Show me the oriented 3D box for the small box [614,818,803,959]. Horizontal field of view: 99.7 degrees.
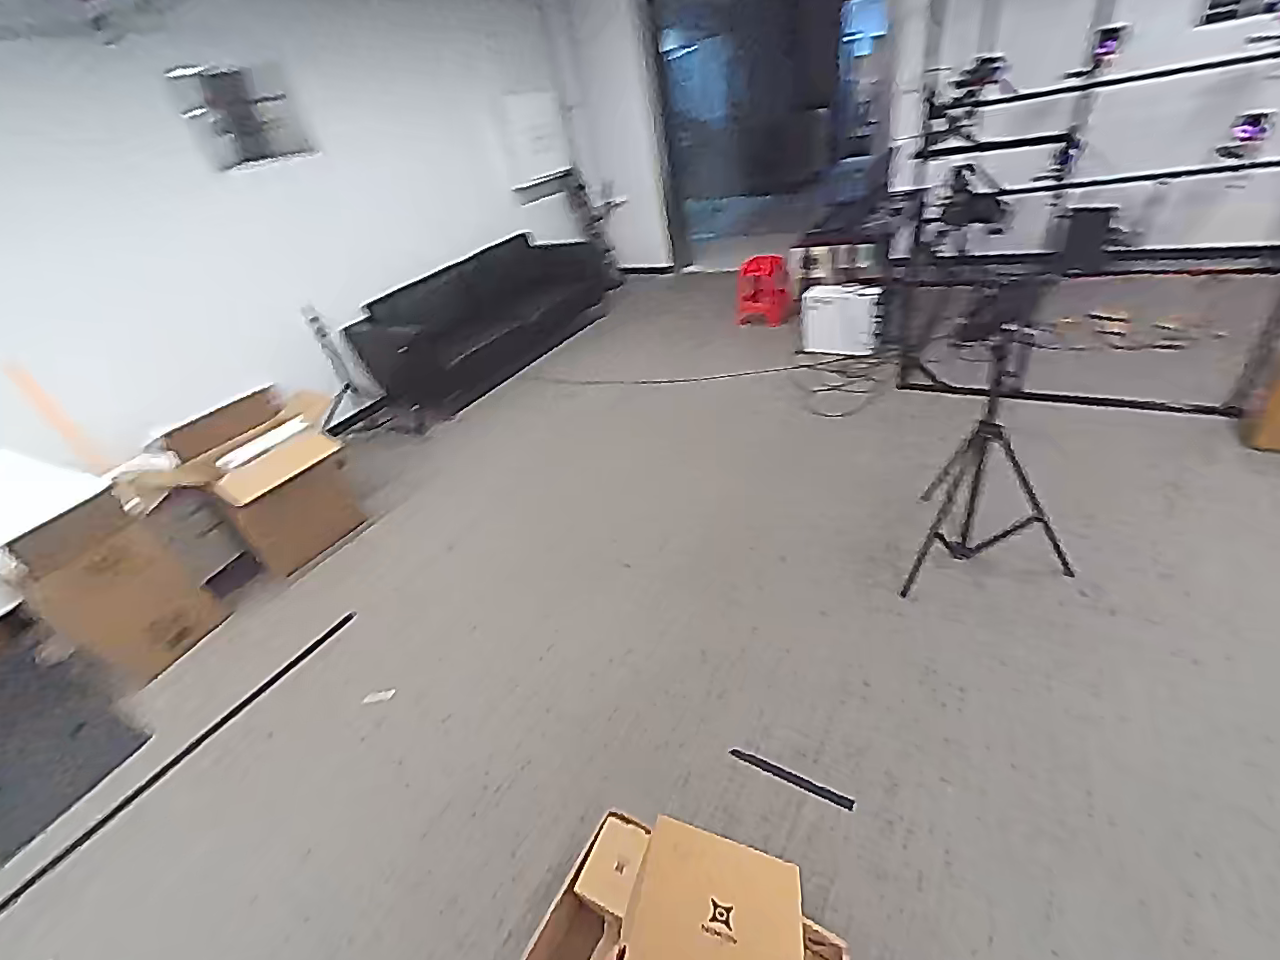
[{"bbox_3d":[0.058,0.501,0.545,0.168,0.176,0.179,15,19,8],"label":"small box"}]
